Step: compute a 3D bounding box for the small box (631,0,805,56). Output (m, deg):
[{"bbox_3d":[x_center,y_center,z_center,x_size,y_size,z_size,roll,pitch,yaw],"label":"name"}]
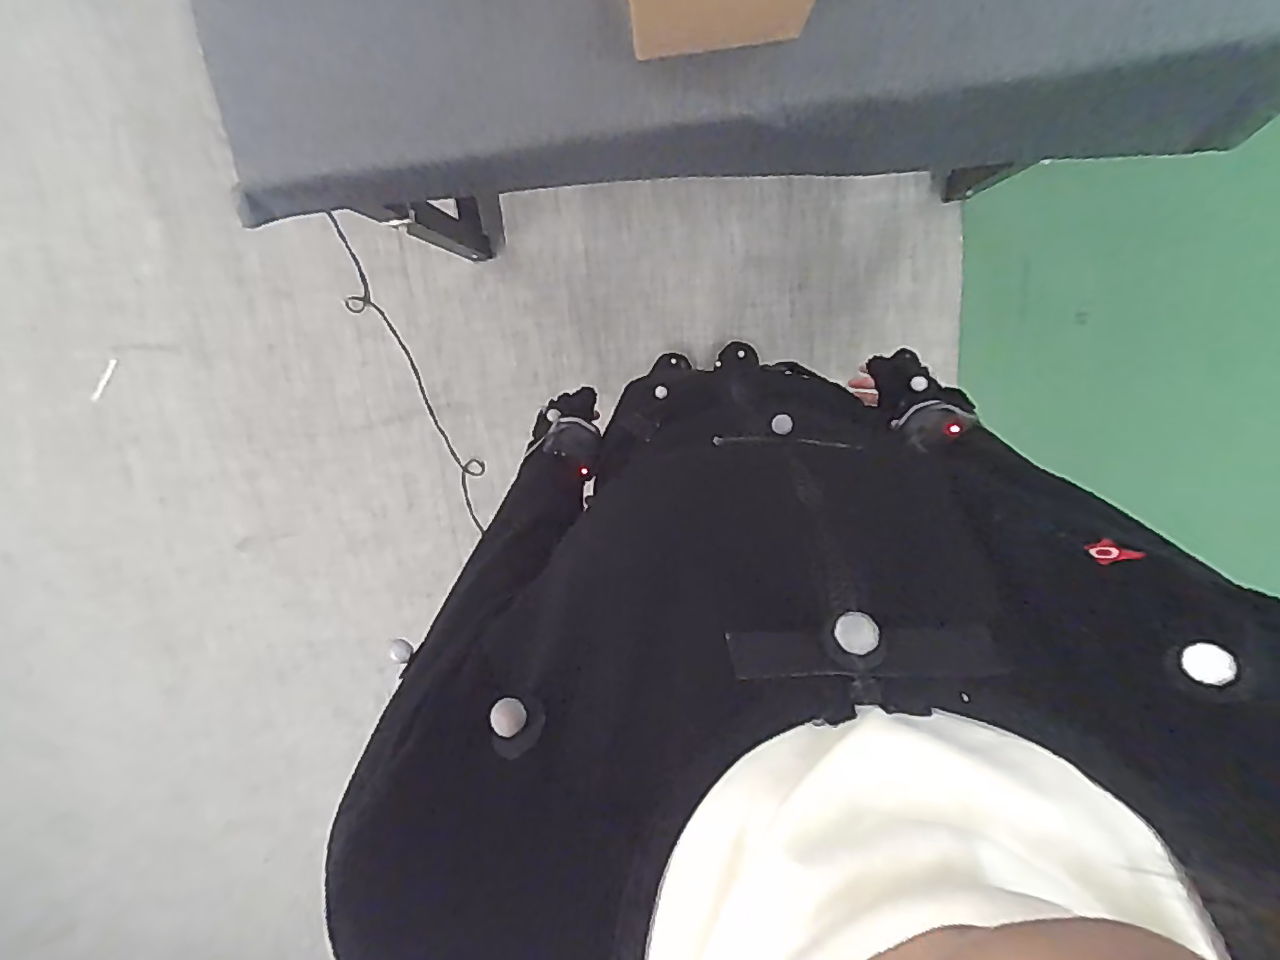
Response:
[{"bbox_3d":[0.072,-0.531,0.499,0.179,0.176,0.168,-5,104,4],"label":"small box"}]
